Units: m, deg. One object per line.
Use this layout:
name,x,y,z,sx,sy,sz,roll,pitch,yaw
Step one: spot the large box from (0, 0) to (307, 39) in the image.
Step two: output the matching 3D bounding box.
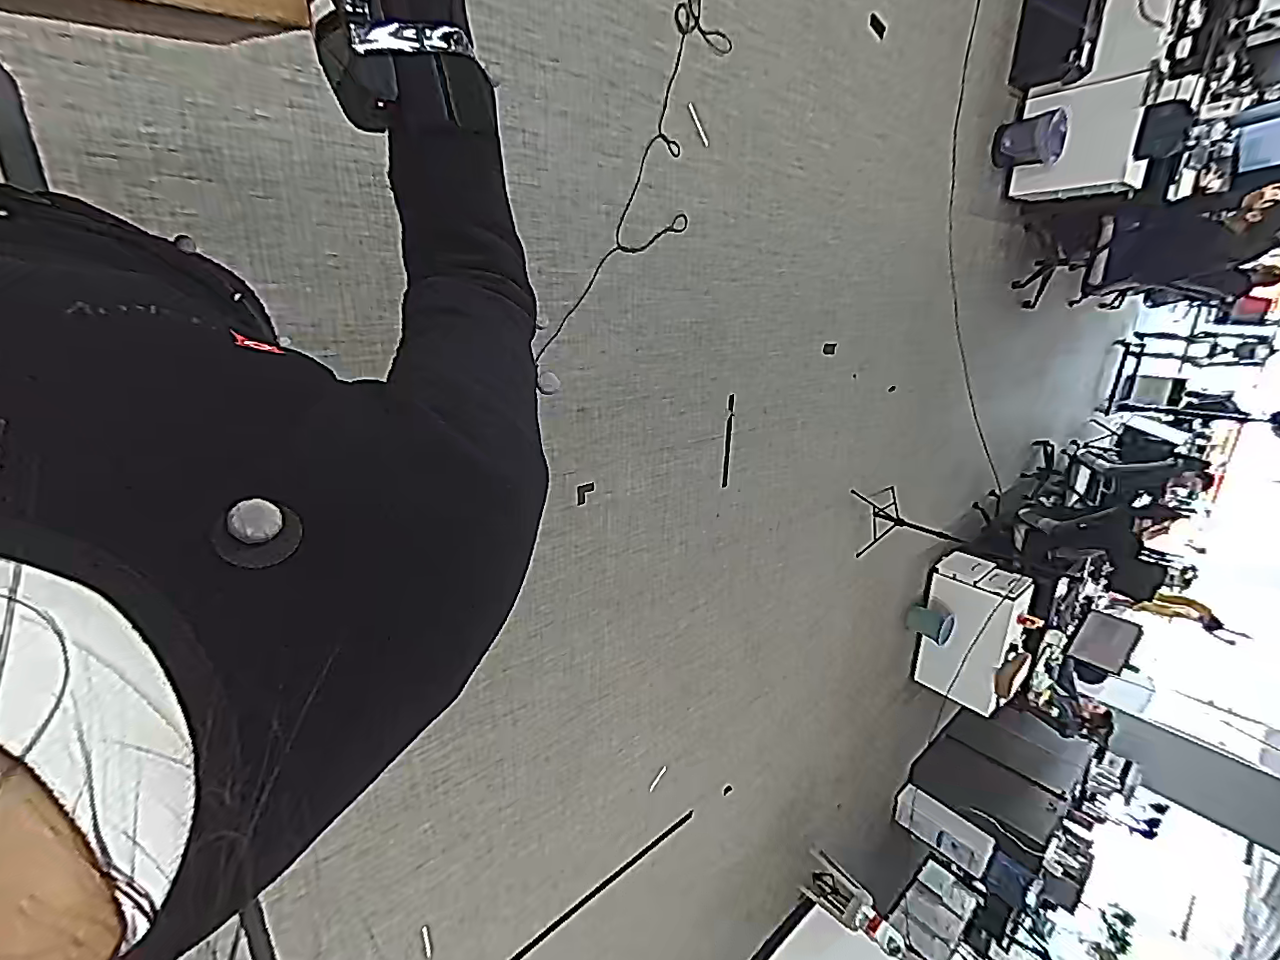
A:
large box,-0.431,-0.407,0.217,0.408,0.320,0.320,-21,133,-35
